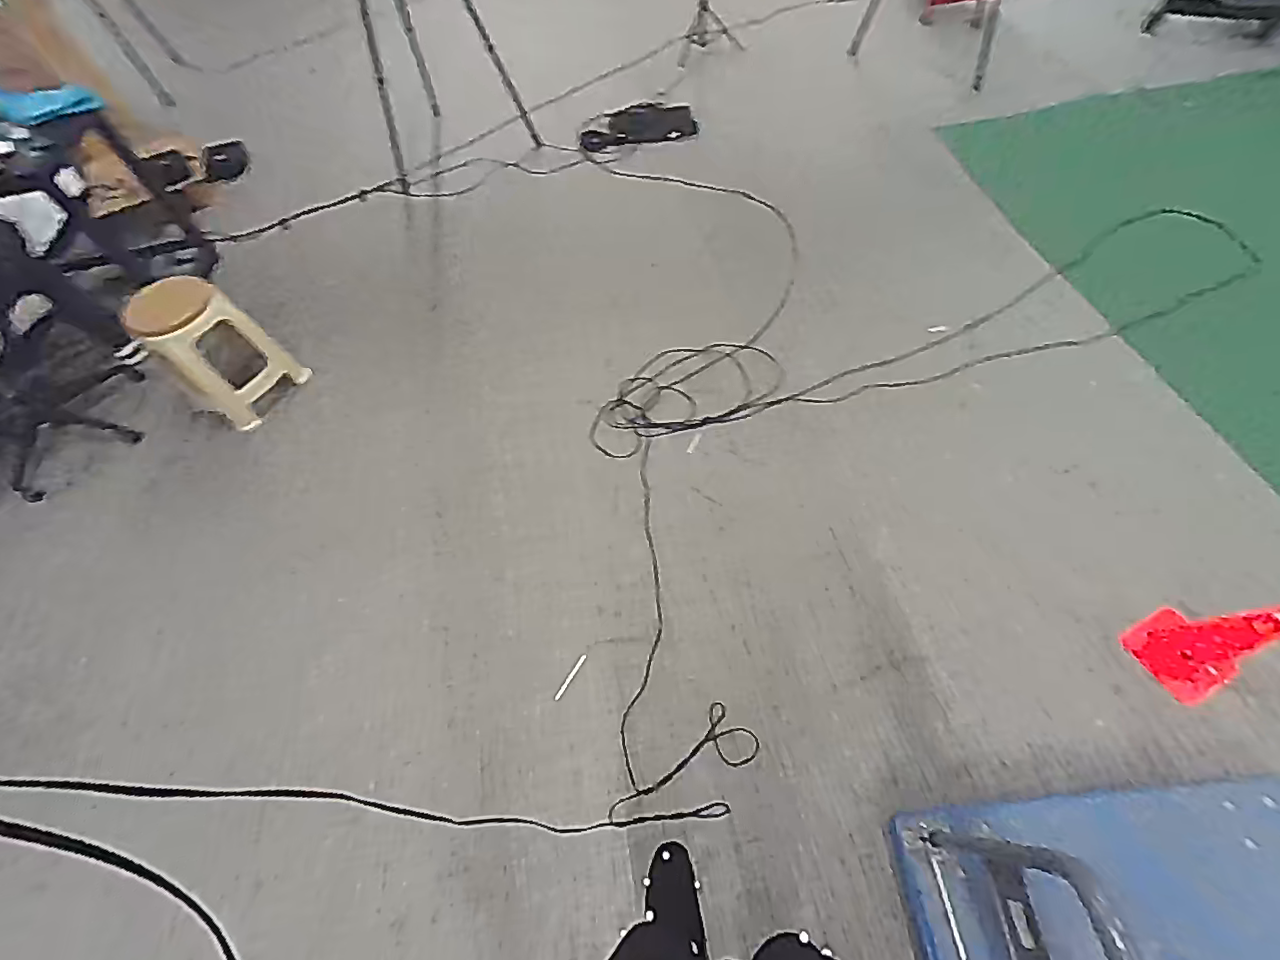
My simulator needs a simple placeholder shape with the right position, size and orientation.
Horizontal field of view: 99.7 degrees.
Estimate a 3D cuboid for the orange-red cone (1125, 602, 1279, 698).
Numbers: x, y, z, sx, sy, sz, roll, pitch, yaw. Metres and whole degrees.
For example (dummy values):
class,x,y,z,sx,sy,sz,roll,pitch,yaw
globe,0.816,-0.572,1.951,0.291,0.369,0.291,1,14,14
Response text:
class,x,y,z,sx,sy,sz,roll,pitch,yaw
orange-red cone,1.409,0.358,1.285,0.198,0.360,0.199,-25,58,-10
